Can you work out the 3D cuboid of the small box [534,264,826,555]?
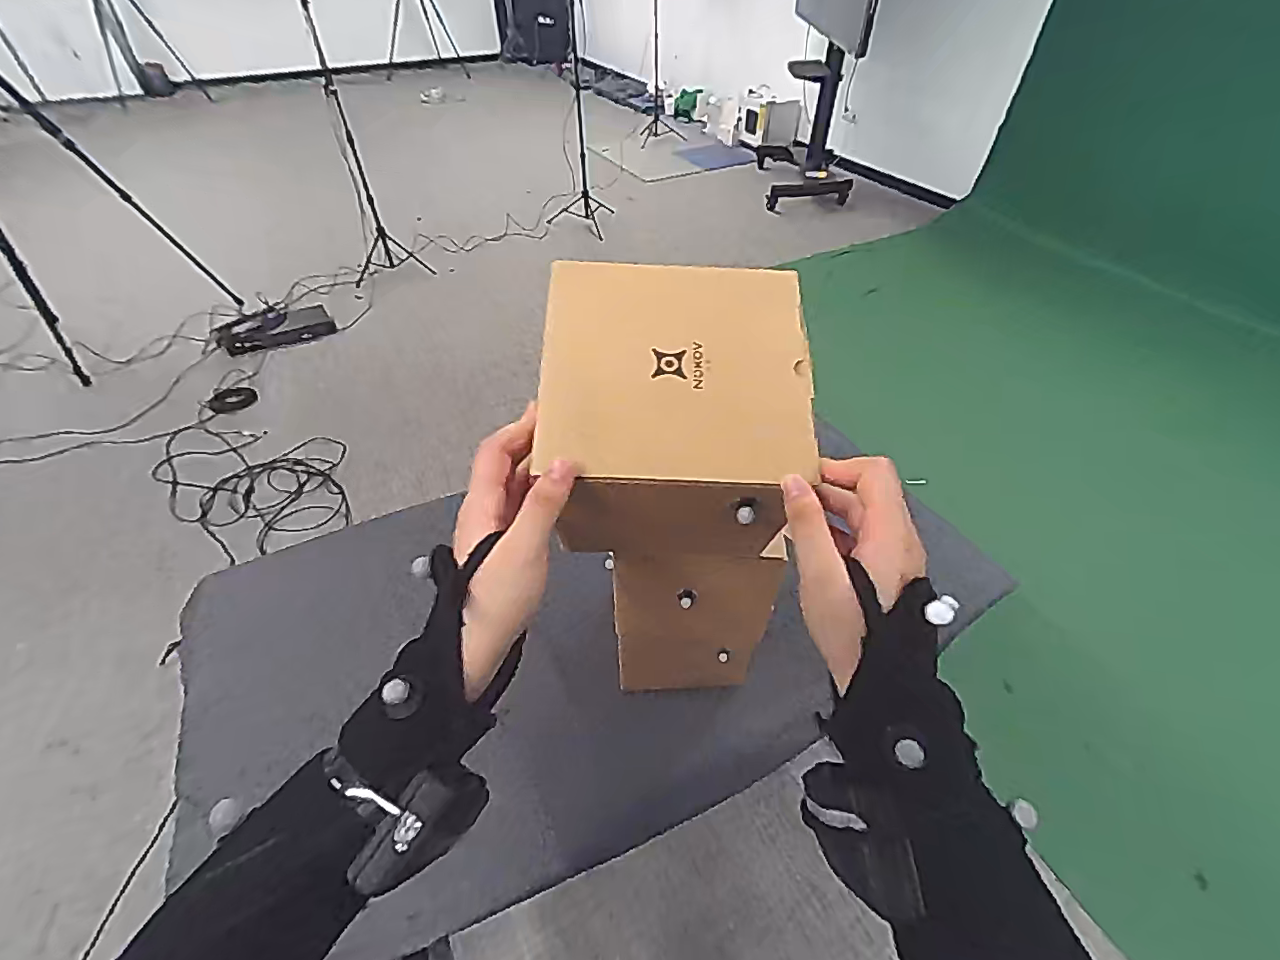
[{"bbox_3d":[0.024,-0.042,0.422,0.179,0.176,0.168,2,68,-1],"label":"small box"}]

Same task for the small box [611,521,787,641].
[{"bbox_3d":[0.063,0.076,0.643,0.179,0.176,0.168,3,45,3],"label":"small box"}]
